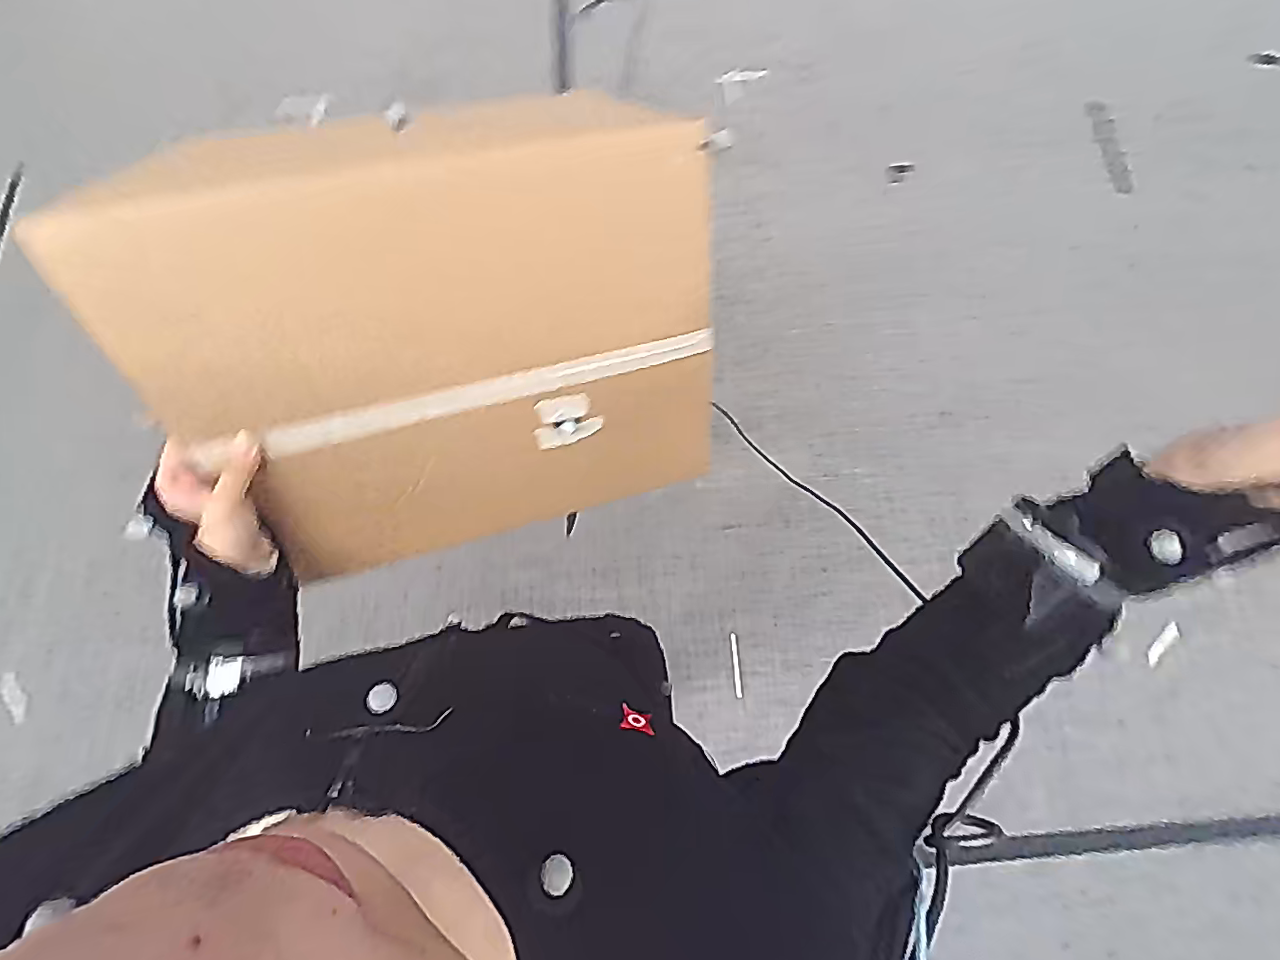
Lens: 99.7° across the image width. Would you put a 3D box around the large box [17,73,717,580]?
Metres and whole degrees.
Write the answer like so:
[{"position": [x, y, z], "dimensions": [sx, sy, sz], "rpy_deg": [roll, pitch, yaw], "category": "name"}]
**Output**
[{"position": [-0.174, -0.171, 0.519], "dimensions": [0.408, 0.320, 0.320], "rpy_deg": [-17, 43, -12], "category": "large box"}]
